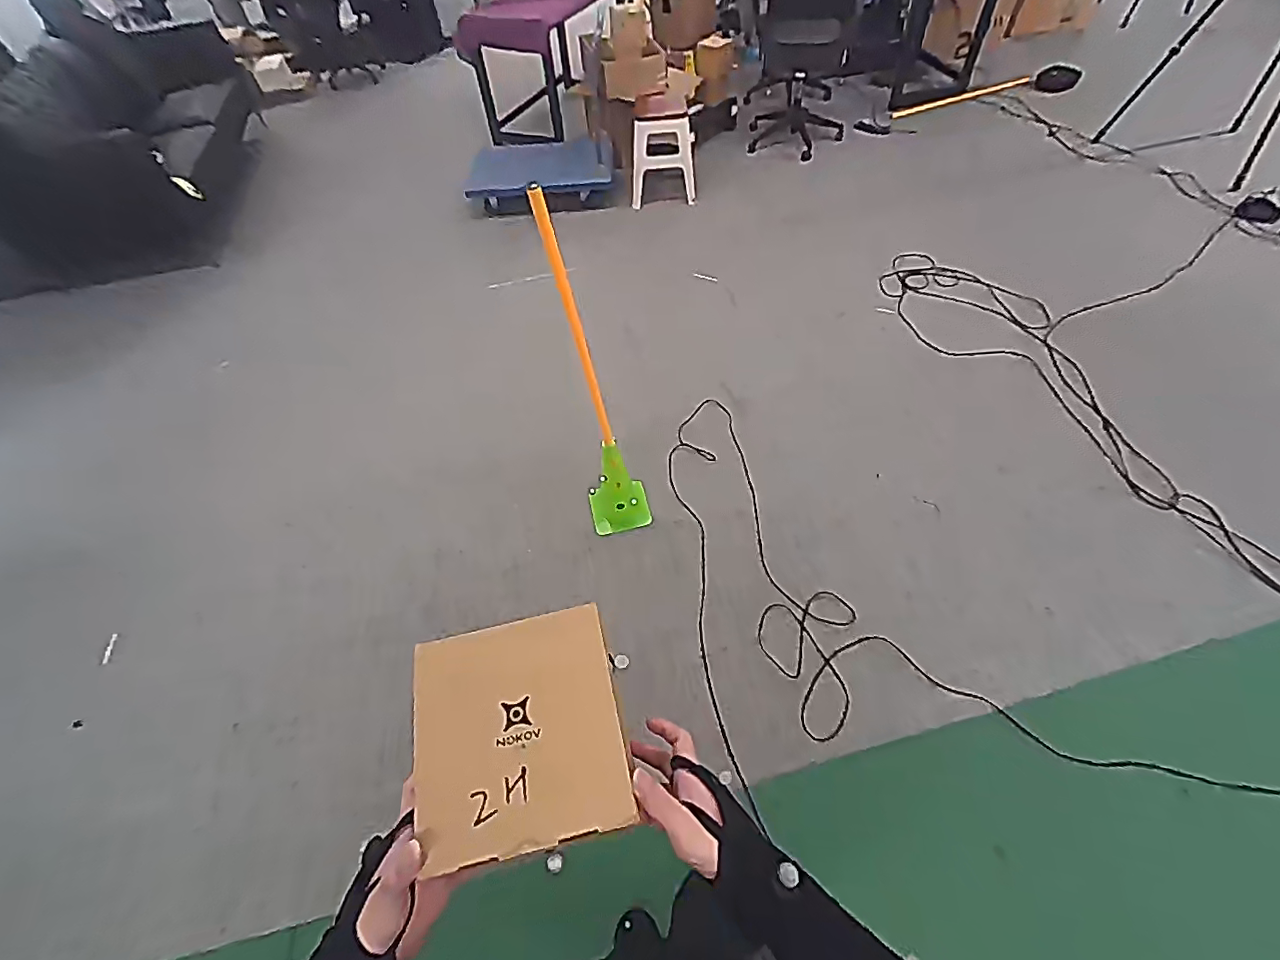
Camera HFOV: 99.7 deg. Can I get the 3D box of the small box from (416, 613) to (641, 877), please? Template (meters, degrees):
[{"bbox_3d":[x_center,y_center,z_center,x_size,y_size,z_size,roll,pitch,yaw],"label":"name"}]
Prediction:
[{"bbox_3d":[-0.096,0.250,0.512,0.168,0.176,0.179,-11,57,-4],"label":"small box"}]

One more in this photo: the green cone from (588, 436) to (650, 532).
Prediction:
[{"bbox_3d":[-0.083,-0.009,1.804,0.202,0.368,0.200,-12,54,-6],"label":"green cone"}]
